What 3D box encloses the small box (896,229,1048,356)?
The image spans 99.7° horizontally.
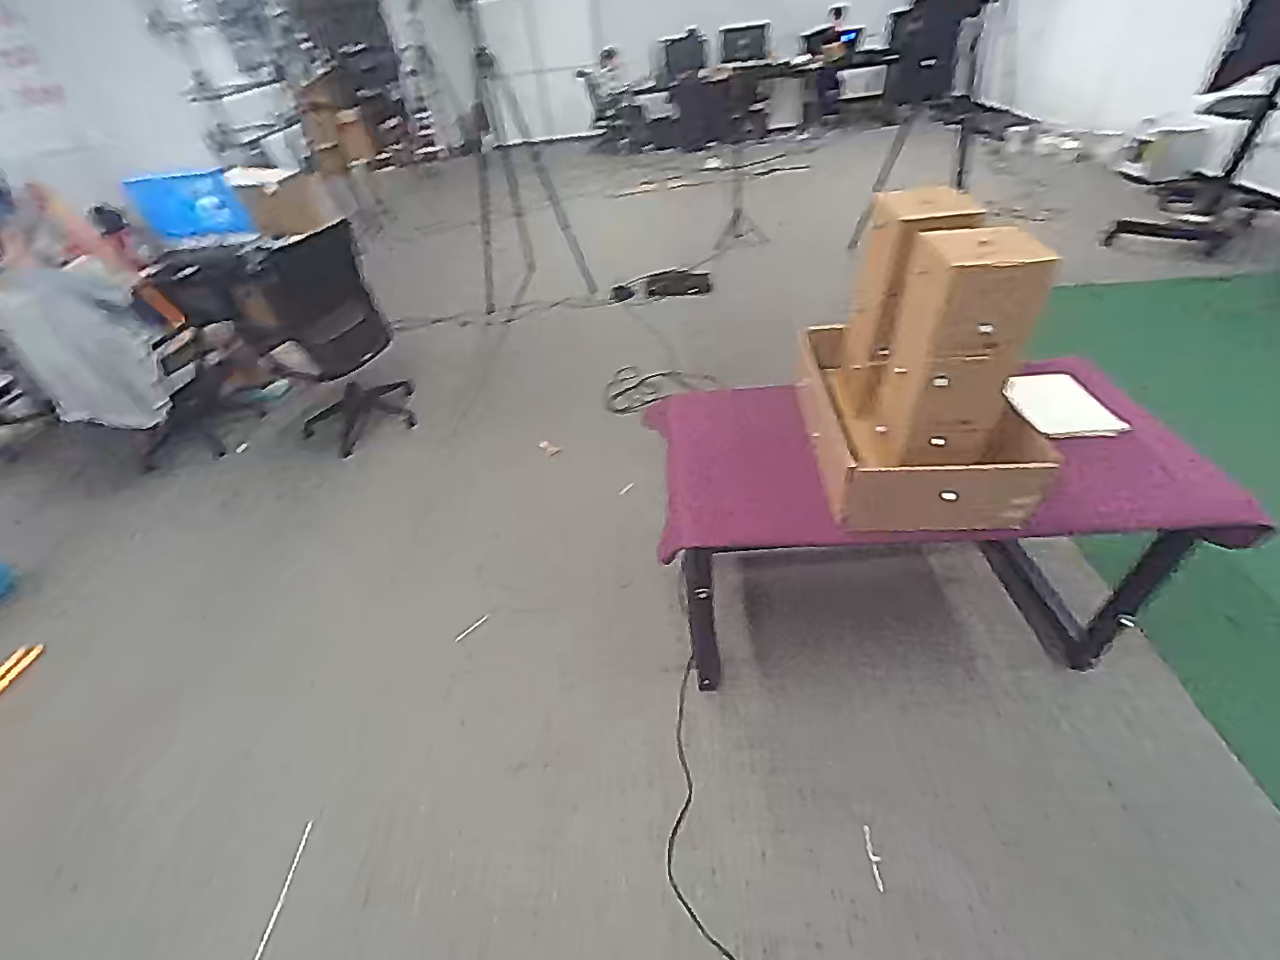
[{"bbox_3d":[0.589,-0.343,0.992,0.168,0.176,0.179,-2,41,7],"label":"small box"}]

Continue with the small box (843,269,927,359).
[{"bbox_3d":[0.607,-0.403,1.309,0.168,0.176,0.179,-4,42,3],"label":"small box"}]

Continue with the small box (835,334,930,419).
[{"bbox_3d":[0.623,-0.278,1.415,0.168,0.176,0.179,-4,44,4],"label":"small box"}]

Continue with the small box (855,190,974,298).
[{"bbox_3d":[0.593,-0.522,1.198,0.168,0.176,0.179,-4,43,4],"label":"small box"}]
